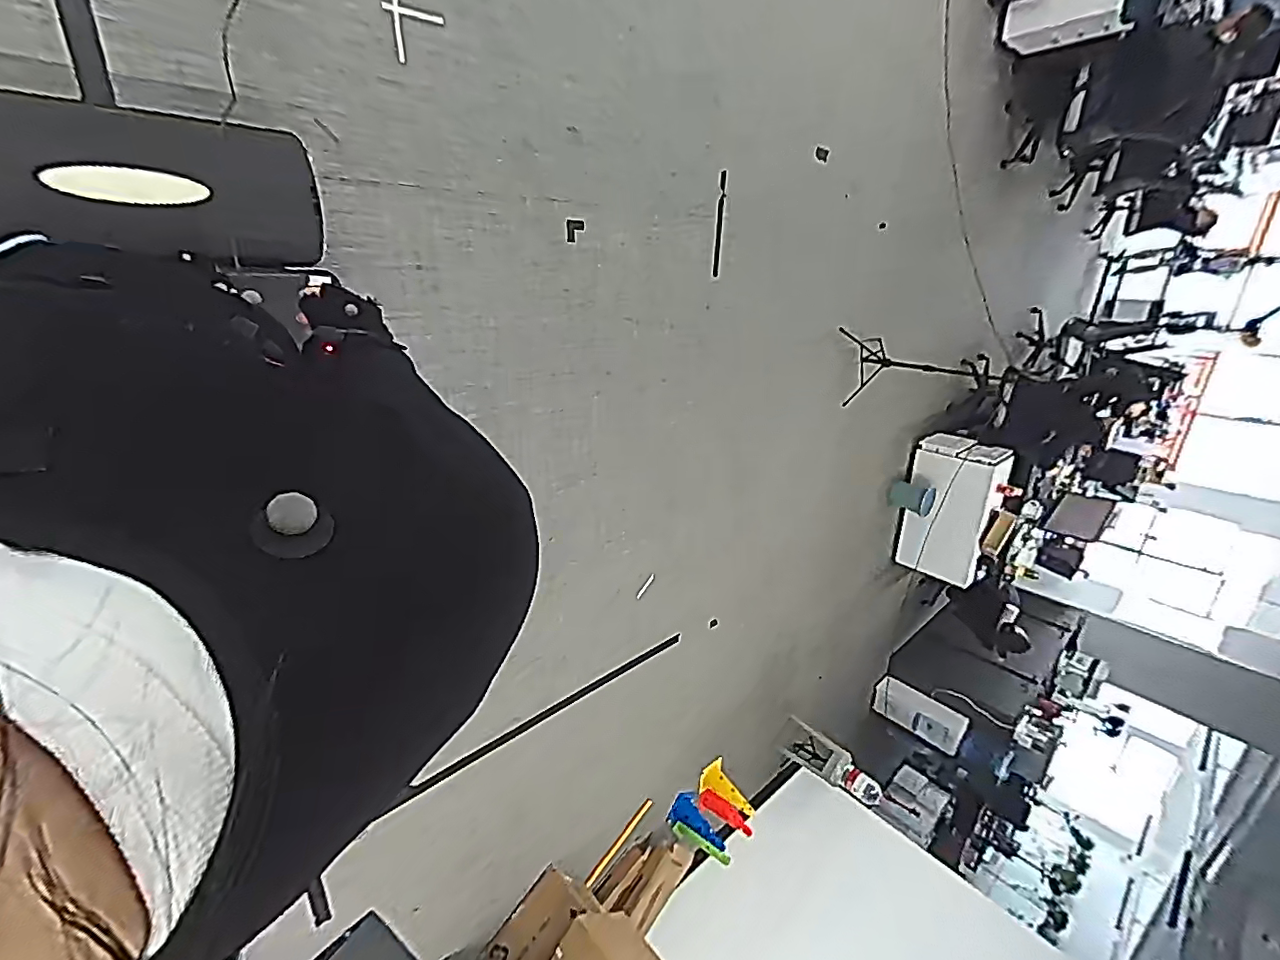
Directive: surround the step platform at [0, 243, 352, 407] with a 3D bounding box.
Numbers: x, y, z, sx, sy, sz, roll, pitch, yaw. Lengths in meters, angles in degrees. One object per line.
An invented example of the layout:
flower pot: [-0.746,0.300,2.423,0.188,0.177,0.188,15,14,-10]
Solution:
step platform: [-1.000,-0.344,1.150,0.684,0.204,0.286,-17,117,-37]
